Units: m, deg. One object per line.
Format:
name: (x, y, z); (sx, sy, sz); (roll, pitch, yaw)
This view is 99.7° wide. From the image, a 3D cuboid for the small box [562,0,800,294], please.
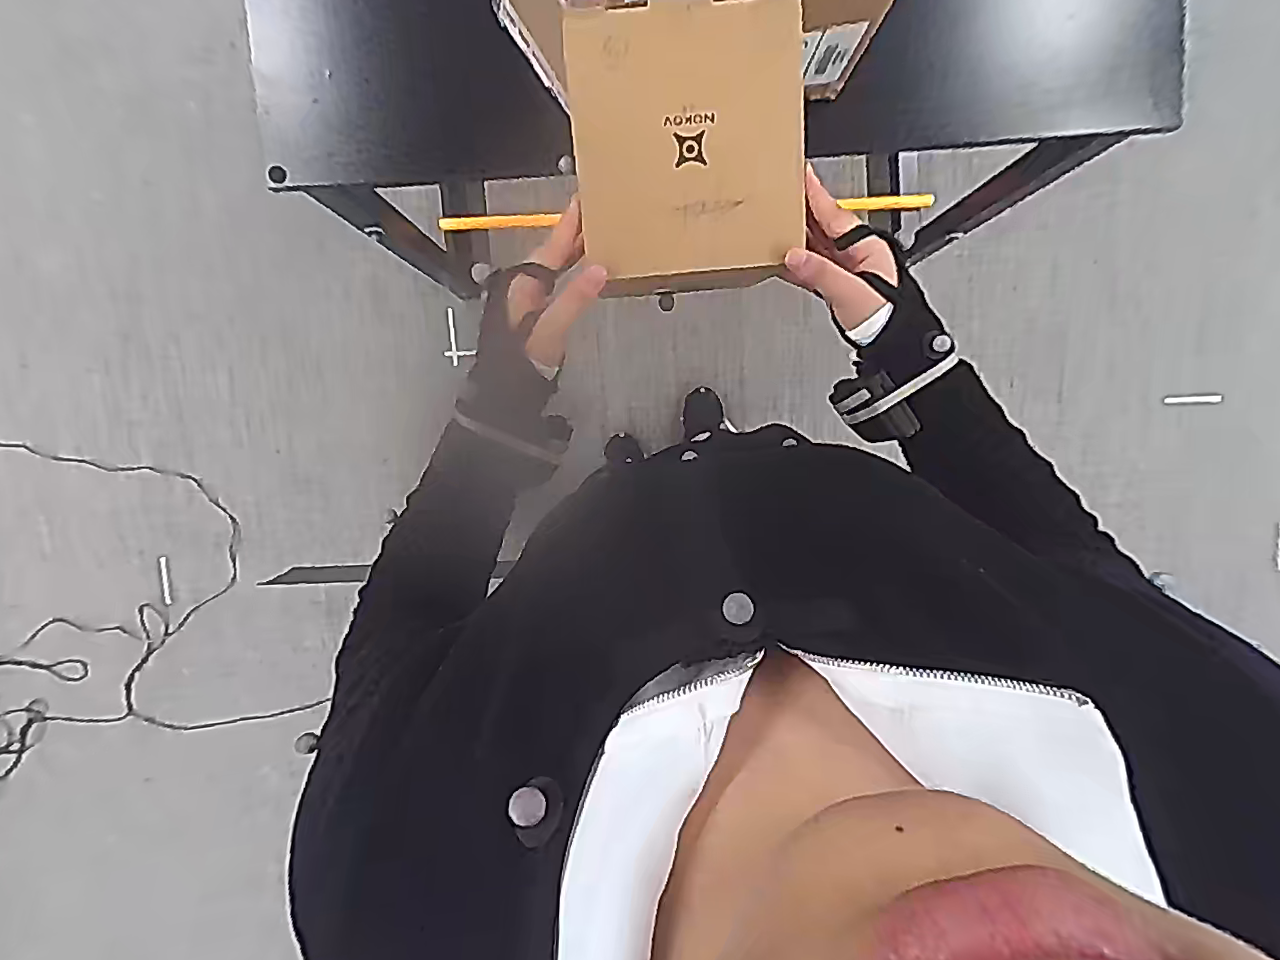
small box: (0.029, -0.264, 0.462); (0.168, 0.176, 0.179); (-5, 104, -1)
